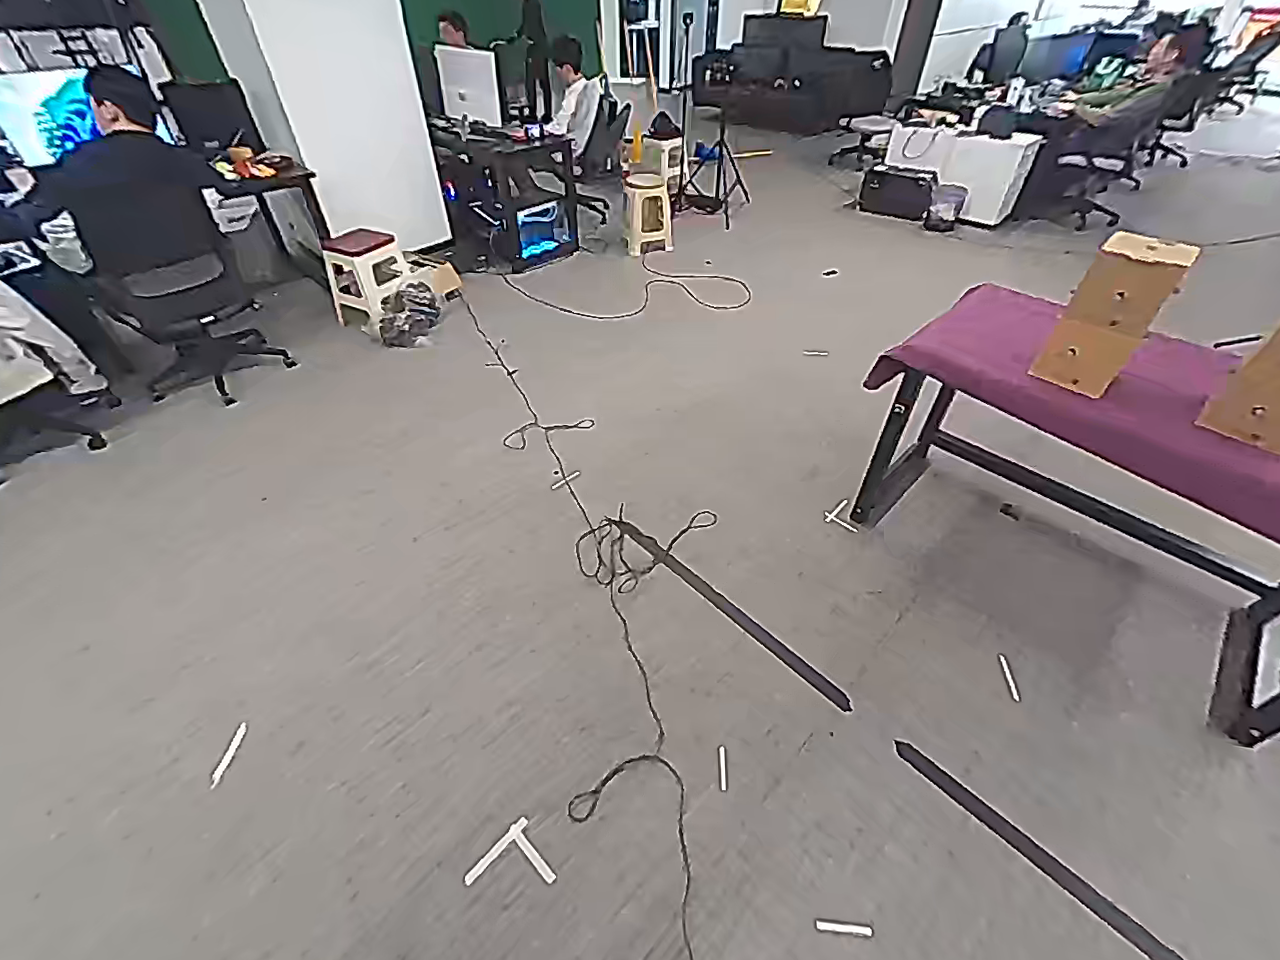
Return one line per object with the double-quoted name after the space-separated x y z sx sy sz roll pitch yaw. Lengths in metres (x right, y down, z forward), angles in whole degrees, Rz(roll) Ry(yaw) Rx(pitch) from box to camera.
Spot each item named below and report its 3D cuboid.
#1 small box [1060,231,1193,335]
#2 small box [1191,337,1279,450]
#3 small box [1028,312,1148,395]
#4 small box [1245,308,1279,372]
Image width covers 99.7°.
1.149 -0.468 1.288 0.168 0.176 0.179 34 52 30 "small box"
1.426 -0.196 1.233 0.179 0.176 0.168 -31 51 -29 "small box"
1.145 -0.343 1.394 0.179 0.176 0.168 -32 52 -31 "small box"
1.430 -0.317 1.122 0.179 0.176 0.168 -32 51 -29 "small box"
